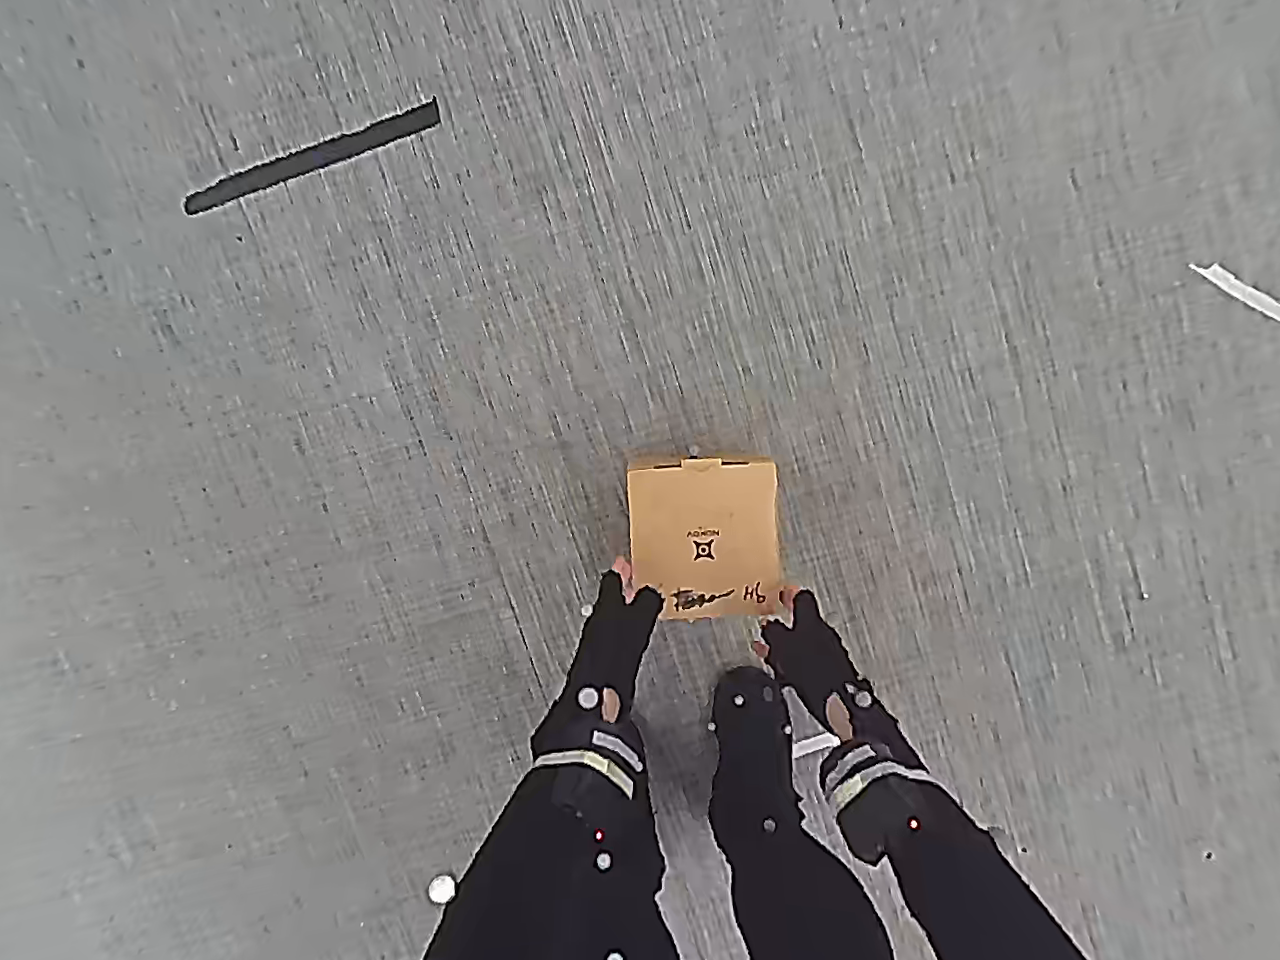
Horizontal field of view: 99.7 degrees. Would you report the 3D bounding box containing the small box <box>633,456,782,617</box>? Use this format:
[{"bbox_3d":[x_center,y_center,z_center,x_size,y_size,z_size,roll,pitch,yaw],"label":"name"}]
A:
[{"bbox_3d":[0.075,0.059,0.681,0.168,0.176,0.179,-3,95,1],"label":"small box"}]
